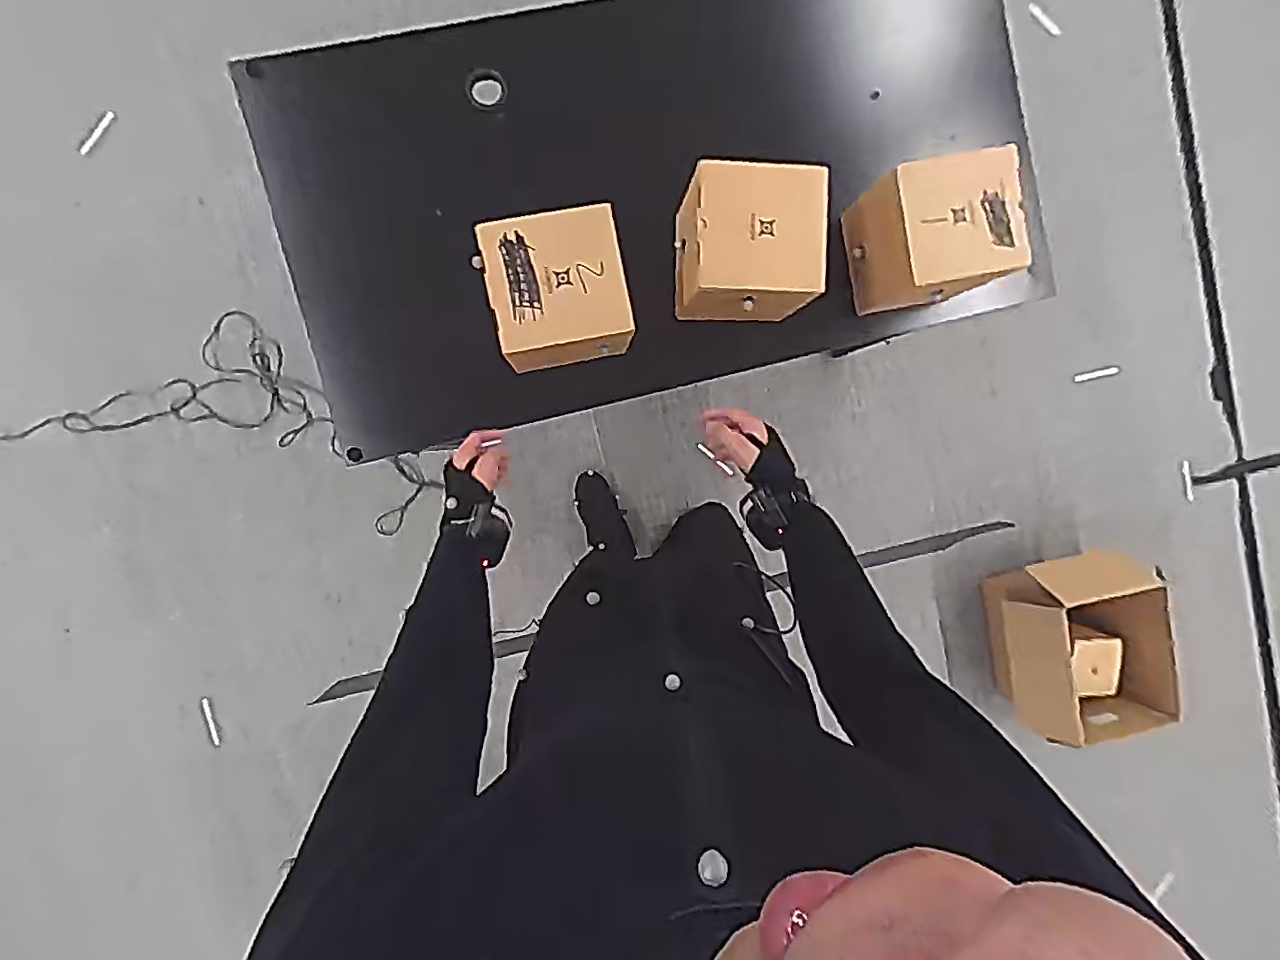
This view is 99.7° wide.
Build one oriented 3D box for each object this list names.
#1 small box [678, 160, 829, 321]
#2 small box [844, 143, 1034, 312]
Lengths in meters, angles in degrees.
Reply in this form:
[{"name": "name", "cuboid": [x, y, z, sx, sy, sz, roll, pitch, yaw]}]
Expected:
[{"name": "small box", "cuboid": [0.155, -0.335, 0.786, 0.179, 0.176, 0.168, -1, 93, -5]}, {"name": "small box", "cuboid": [0.433, -0.364, 0.807, 0.179, 0.176, 0.168, -12, 94, -3]}]
